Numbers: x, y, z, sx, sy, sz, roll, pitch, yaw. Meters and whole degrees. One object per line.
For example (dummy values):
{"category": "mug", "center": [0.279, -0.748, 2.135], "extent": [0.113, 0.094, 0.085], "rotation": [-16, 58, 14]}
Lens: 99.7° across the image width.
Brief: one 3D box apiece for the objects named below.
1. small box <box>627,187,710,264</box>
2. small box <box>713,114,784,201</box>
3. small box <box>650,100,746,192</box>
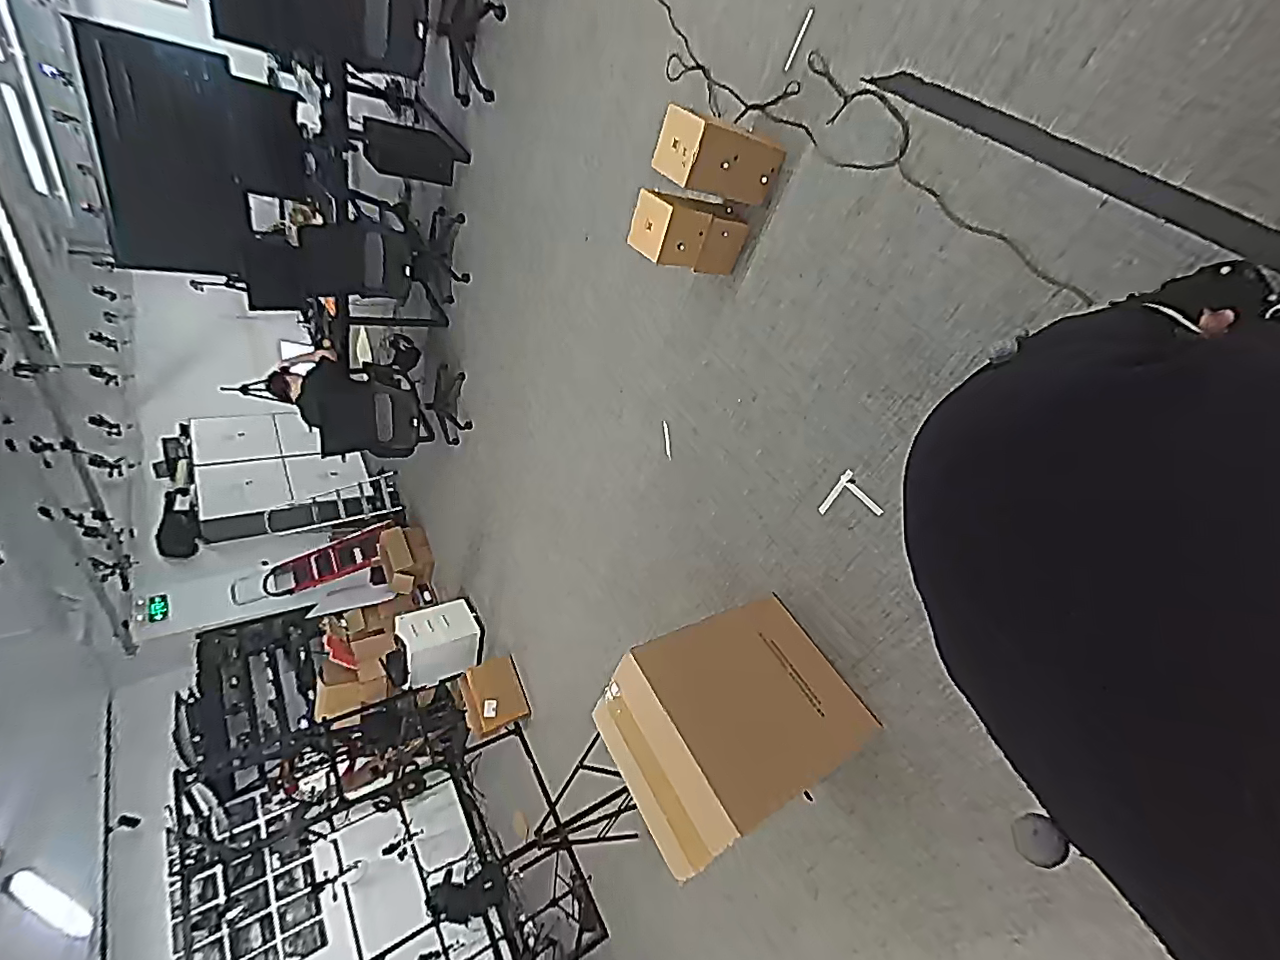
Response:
{"category": "small box", "center": [0.089, -0.782, 1.673], "extent": [0.179, 0.176, 0.168], "rotation": [50, 135, 35]}
{"category": "small box", "center": [0.293, -0.962, 1.625], "extent": [0.179, 0.176, 0.168], "rotation": [53, 137, 30]}
{"category": "small box", "center": [0.162, -0.937, 1.528], "extent": [0.179, 0.176, 0.168], "rotation": [51, 137, 32]}
